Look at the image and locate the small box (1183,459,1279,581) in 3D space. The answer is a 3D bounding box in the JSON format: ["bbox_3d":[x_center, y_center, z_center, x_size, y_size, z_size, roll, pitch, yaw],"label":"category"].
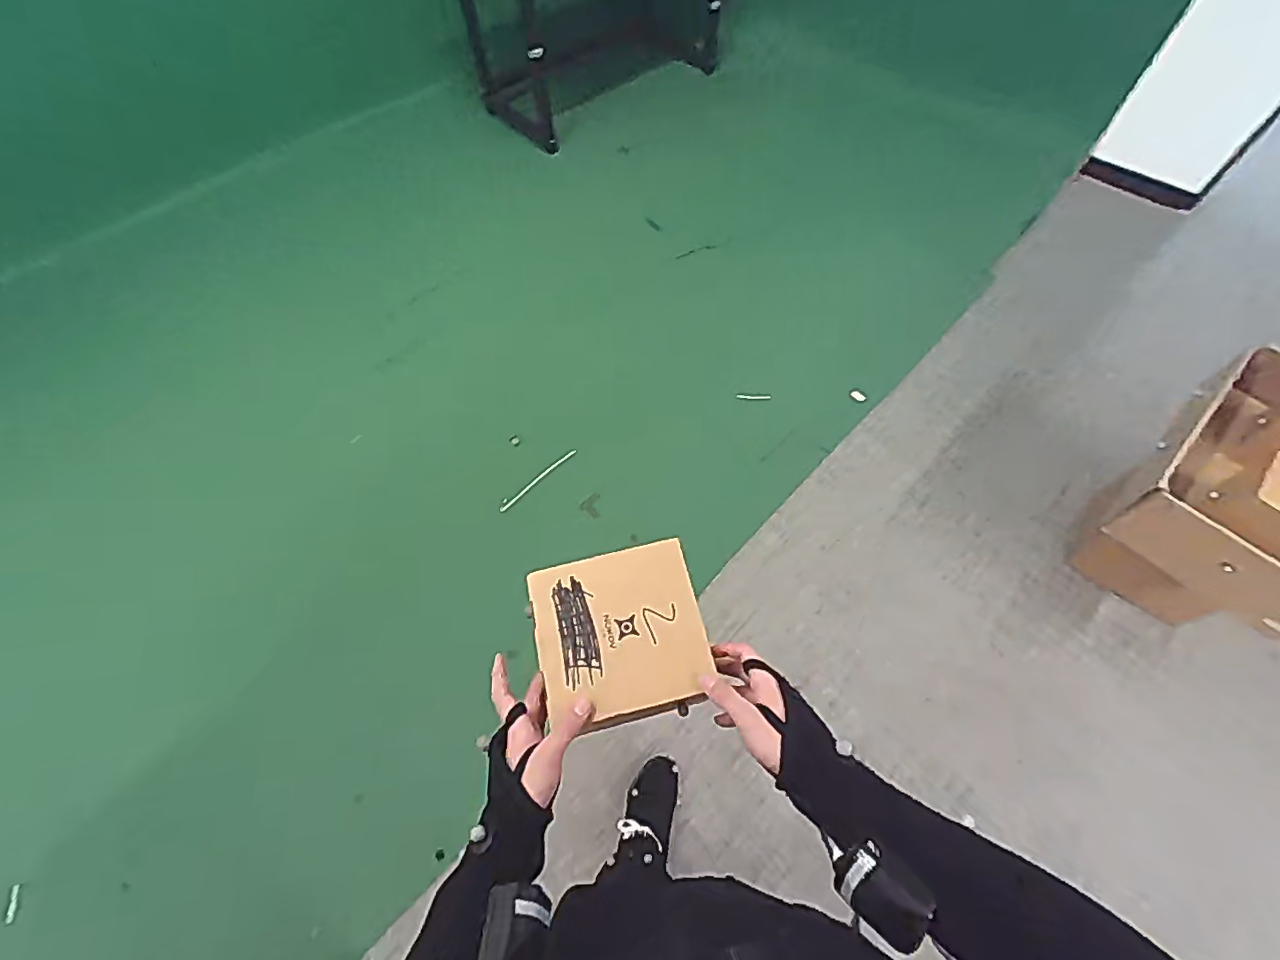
[{"bbox_3d":[1.346,0.094,1.154,0.168,0.176,0.179,-40,67,-21],"label":"small box"}]

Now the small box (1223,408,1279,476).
[{"bbox_3d":[1.539,-0.074,1.253,0.168,0.176,0.179,-37,67,-18],"label":"small box"}]
